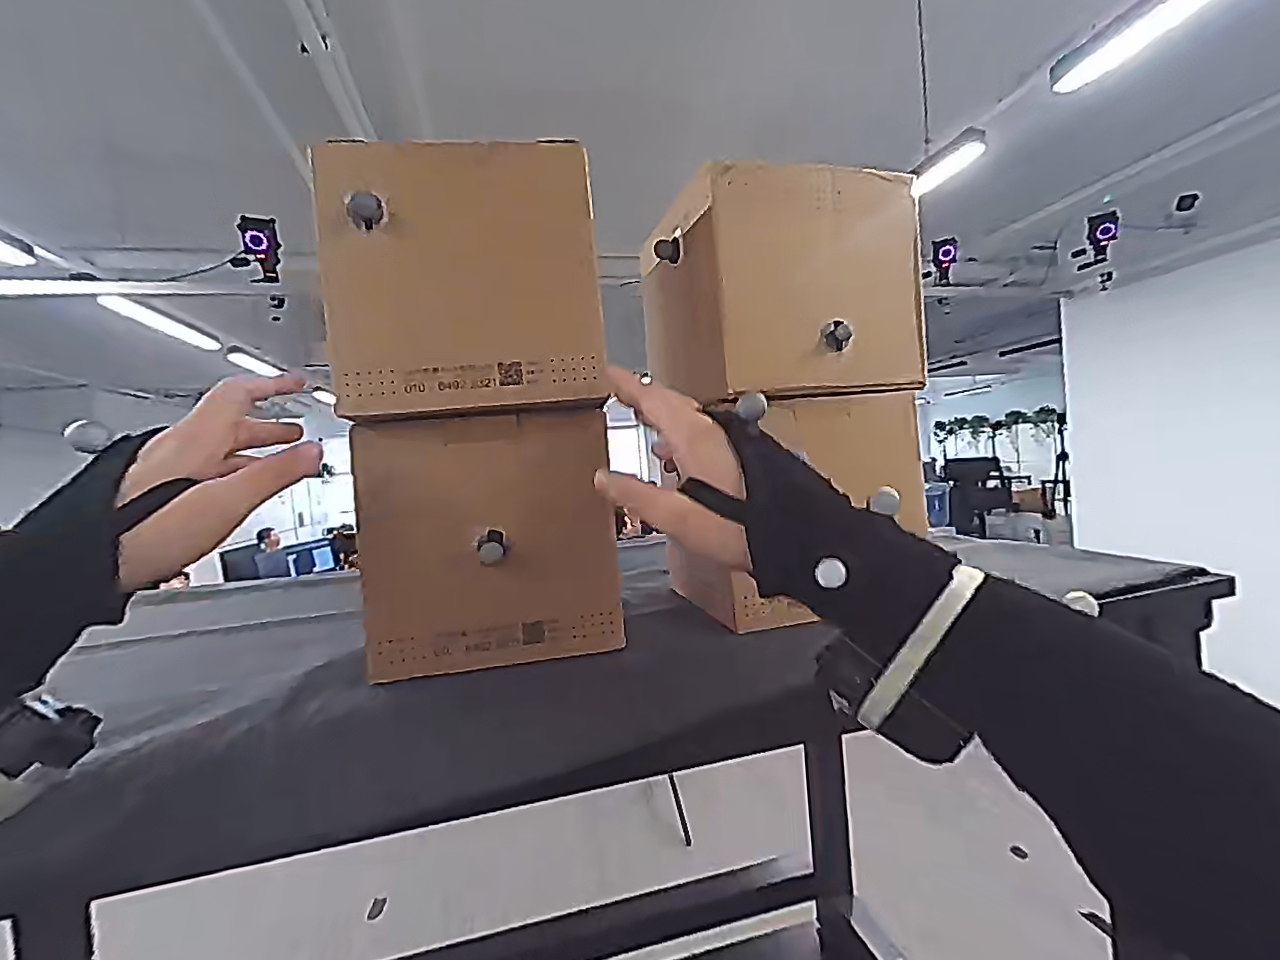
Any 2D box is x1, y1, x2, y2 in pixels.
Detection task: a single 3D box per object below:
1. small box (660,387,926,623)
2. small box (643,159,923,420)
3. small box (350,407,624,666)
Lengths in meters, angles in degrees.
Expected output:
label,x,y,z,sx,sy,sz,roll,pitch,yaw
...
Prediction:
label,x,y,z,sx,sy,sz,roll,pitch,yaw
small box,0.122,0.019,0.483,0.168,0.176,0.179,-7,1,-12
small box,0.111,-0.148,0.469,0.179,0.176,0.168,-4,0,-17
small box,-0.109,0.040,0.435,0.168,0.176,0.179,-5,1,-10
